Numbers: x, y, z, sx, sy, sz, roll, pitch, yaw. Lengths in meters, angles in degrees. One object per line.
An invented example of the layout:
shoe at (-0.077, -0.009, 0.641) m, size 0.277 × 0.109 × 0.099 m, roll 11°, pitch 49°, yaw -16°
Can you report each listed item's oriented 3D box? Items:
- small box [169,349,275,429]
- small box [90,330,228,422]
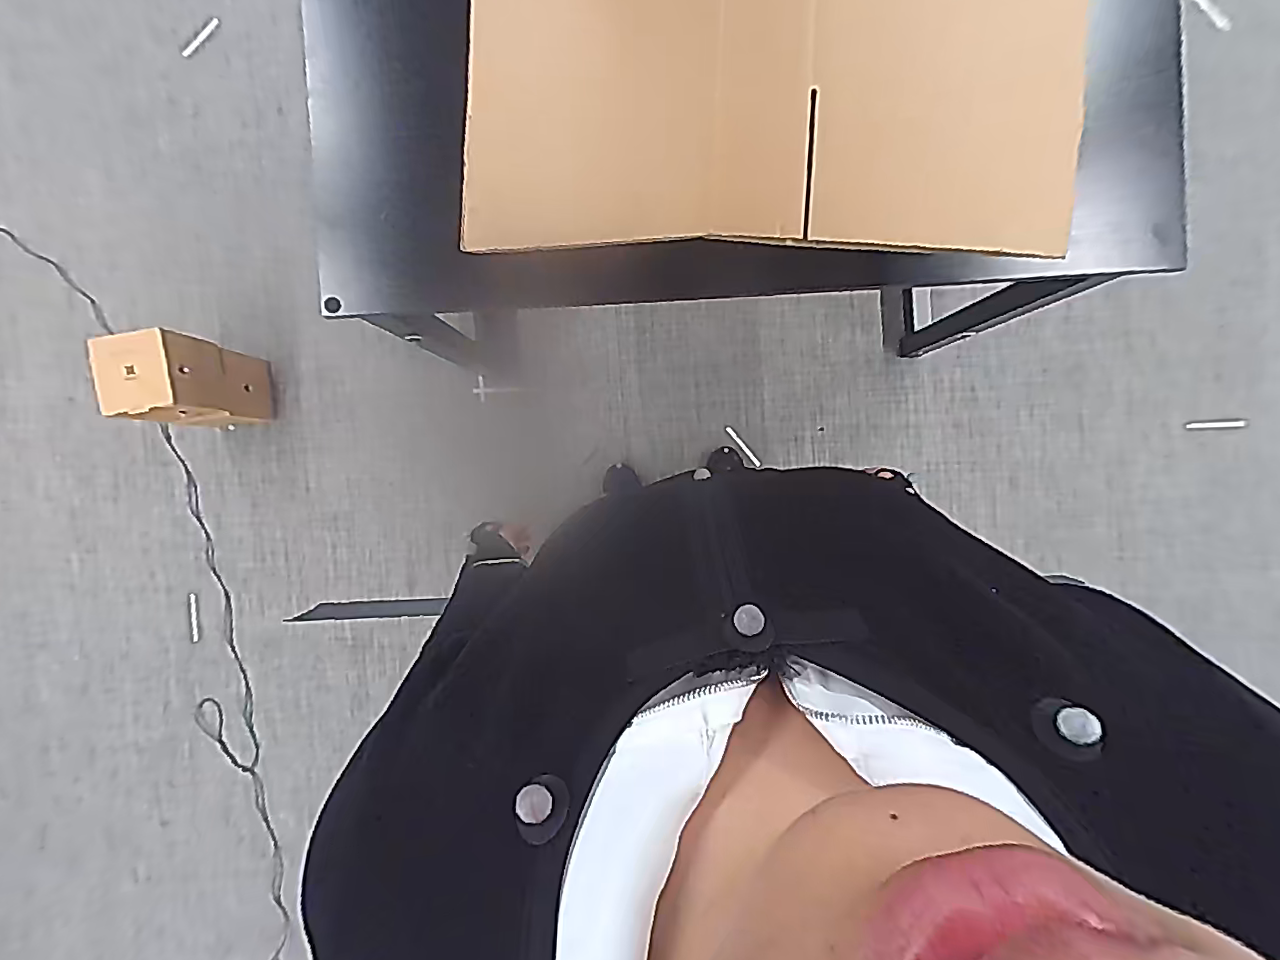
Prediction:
small box at (-1.109, -0.235, 1.432) m, size 0.168 × 0.176 × 0.179 m, roll -7°, pitch 92°, yaw 1°
small box at (-1.115, -0.235, 1.270) m, size 0.168 × 0.176 × 0.179 m, roll -10°, pitch 90°, yaw 1°
